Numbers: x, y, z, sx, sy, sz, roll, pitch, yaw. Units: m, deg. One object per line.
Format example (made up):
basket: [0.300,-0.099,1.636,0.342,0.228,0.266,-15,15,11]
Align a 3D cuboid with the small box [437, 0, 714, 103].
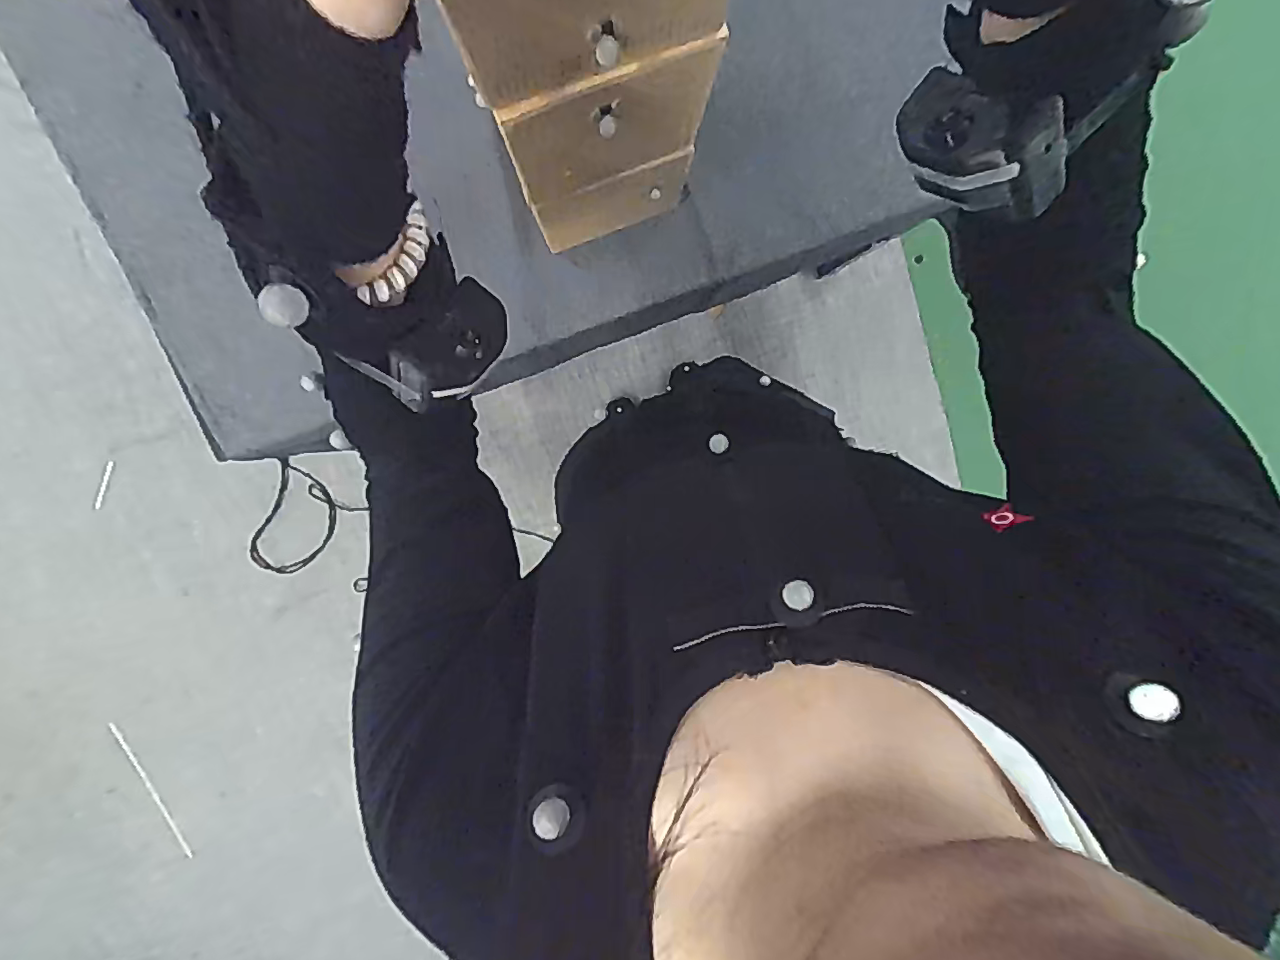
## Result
small box: [-0.047,-0.350,0.289,0.179,0.176,0.168,-19,99,0]

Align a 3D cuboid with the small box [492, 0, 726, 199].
small box: [-0.050,-0.370,0.452,0.179,0.176,0.168,-21,99,1]
